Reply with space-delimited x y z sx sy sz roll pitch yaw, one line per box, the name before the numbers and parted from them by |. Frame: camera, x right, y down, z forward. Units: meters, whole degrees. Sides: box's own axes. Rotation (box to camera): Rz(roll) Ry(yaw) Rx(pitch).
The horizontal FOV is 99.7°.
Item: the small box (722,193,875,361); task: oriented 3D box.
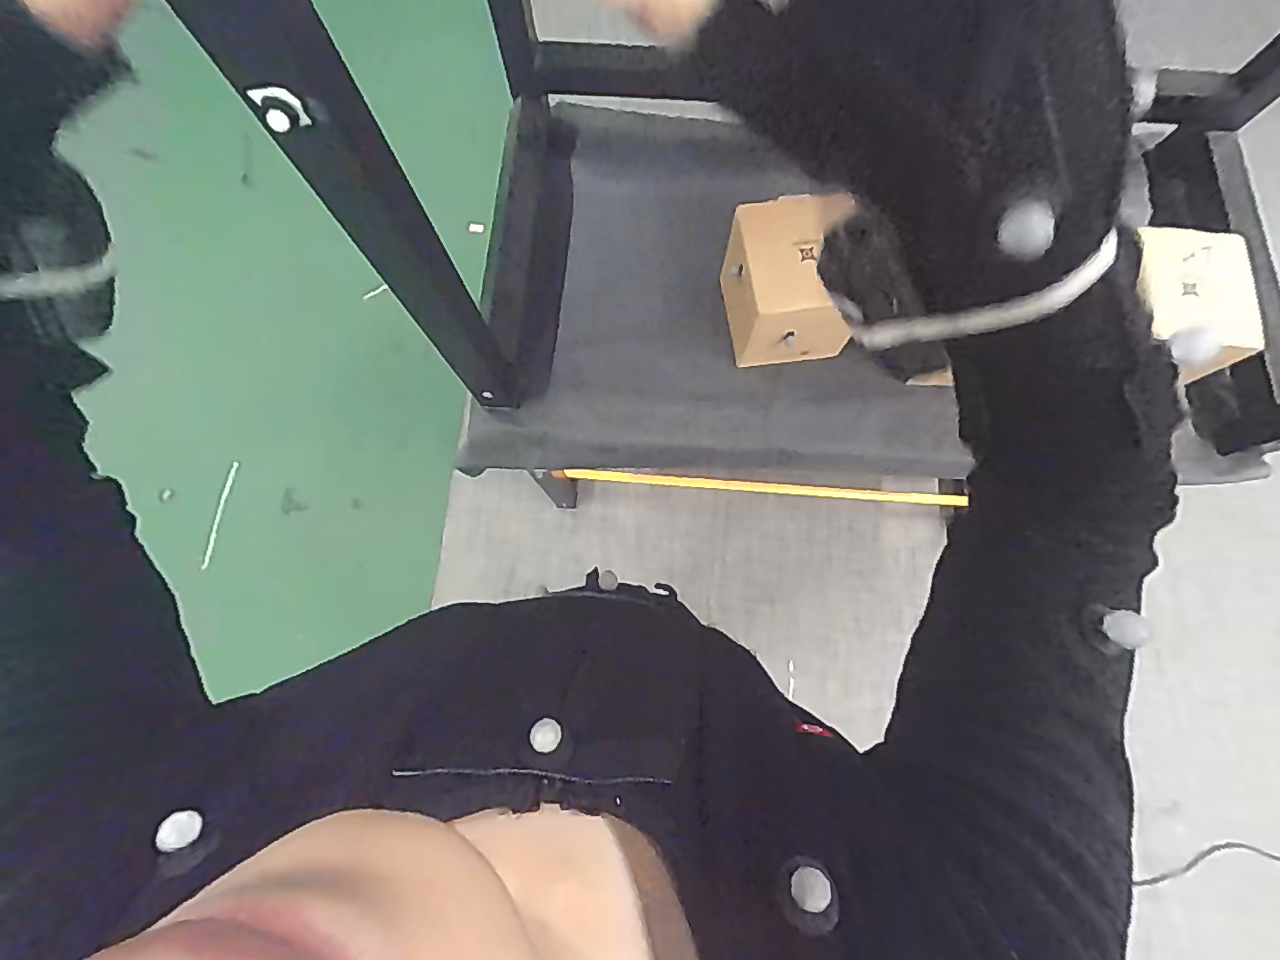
small box | 0.225 -0.292 0.813 0.168 0.176 0.179 -7 75 -1
